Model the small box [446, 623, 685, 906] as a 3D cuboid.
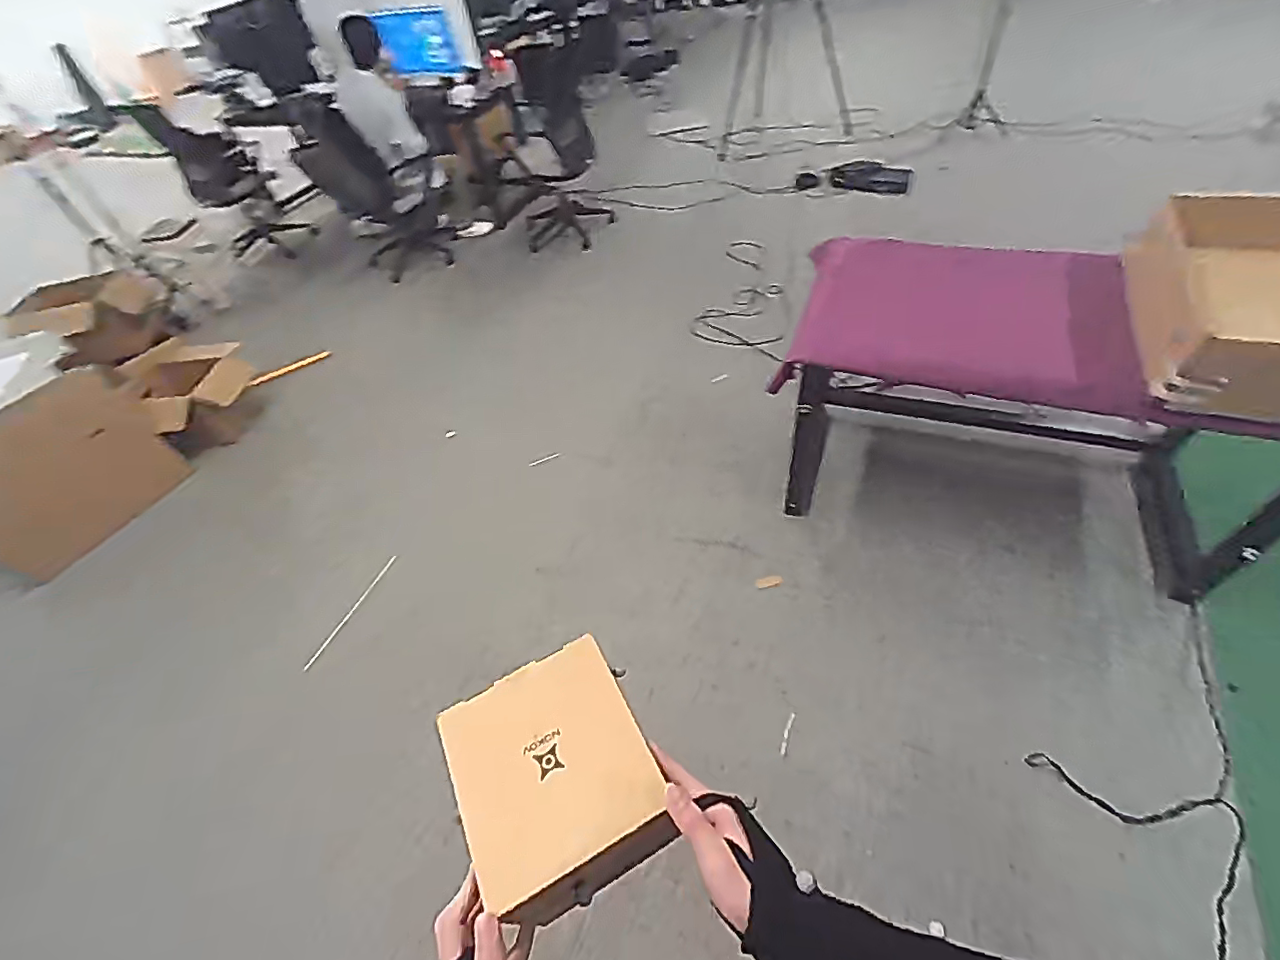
[{"bbox_3d":[-0.065,0.283,0.538,0.168,0.176,0.179,-25,51,-12],"label":"small box"}]
